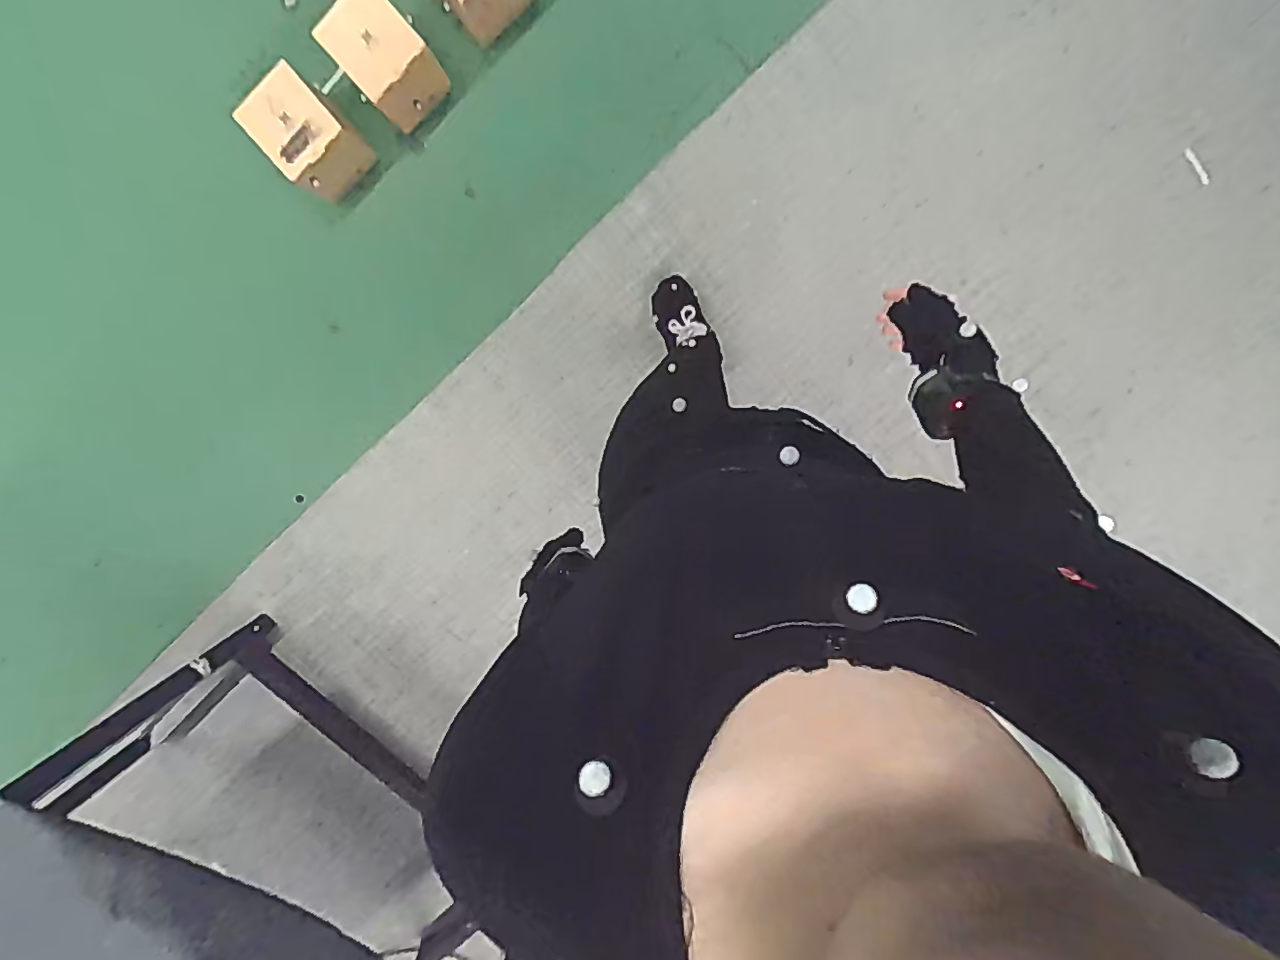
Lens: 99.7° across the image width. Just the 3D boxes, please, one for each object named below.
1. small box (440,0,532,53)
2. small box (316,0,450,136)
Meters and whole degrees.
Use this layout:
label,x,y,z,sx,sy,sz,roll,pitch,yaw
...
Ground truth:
label,x,y,z,sx,sy,sz,roll,pitch,yaw
small box,-0.350,-1.095,1.168,0.179,0.176,0.168,-39,99,7
small box,-0.560,-0.921,1.205,0.168,0.176,0.179,-42,100,7
